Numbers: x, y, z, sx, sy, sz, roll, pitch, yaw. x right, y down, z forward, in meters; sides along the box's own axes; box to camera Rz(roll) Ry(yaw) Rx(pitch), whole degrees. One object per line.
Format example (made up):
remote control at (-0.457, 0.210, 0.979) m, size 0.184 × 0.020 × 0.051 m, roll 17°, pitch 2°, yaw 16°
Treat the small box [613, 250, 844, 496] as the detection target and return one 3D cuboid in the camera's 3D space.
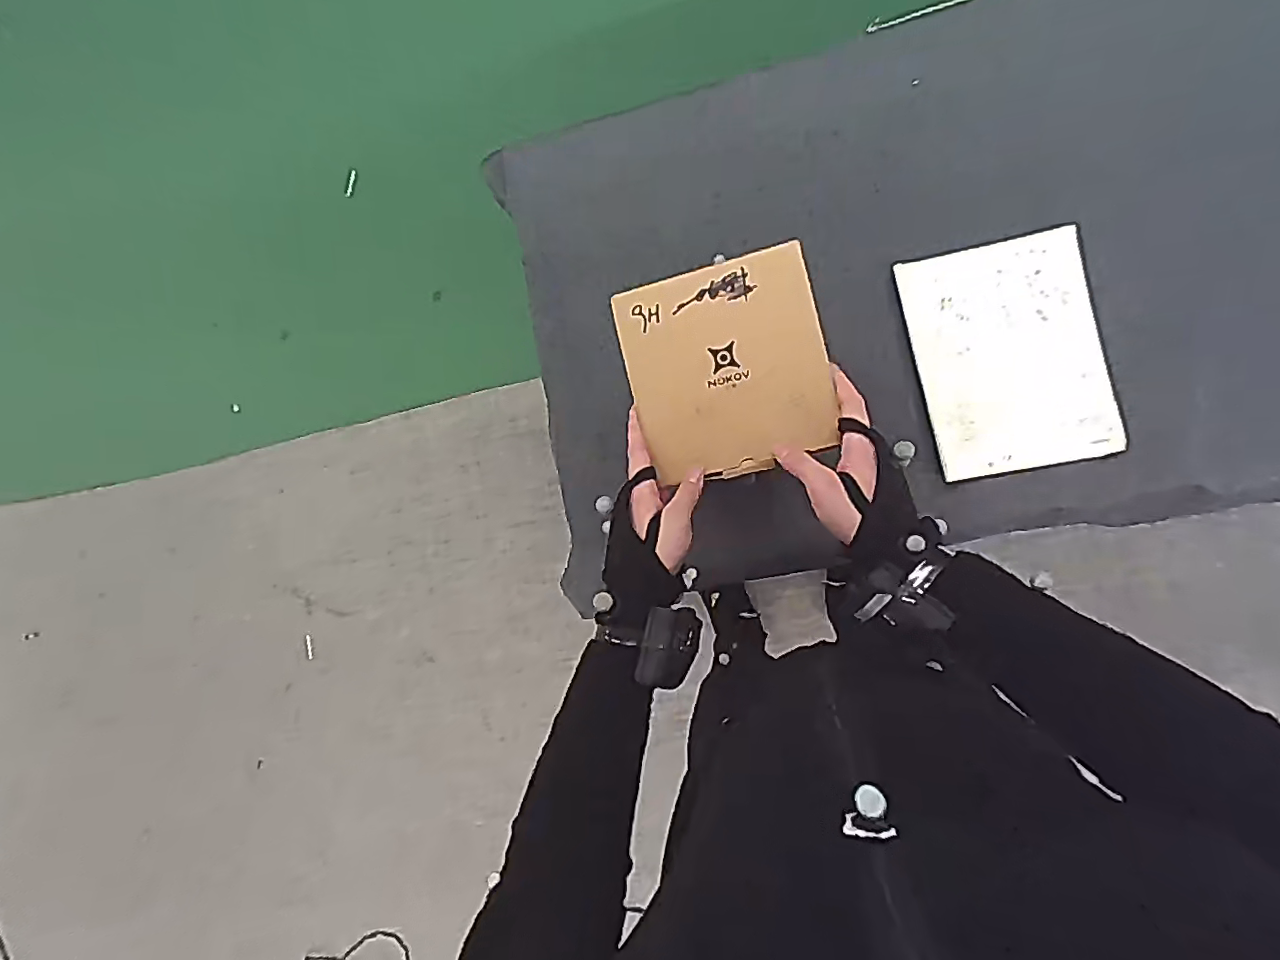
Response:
small box at (0.087, -0.093, 0.535) m, size 0.168 × 0.176 × 0.179 m, roll -14°, pitch 92°, yaw 10°
